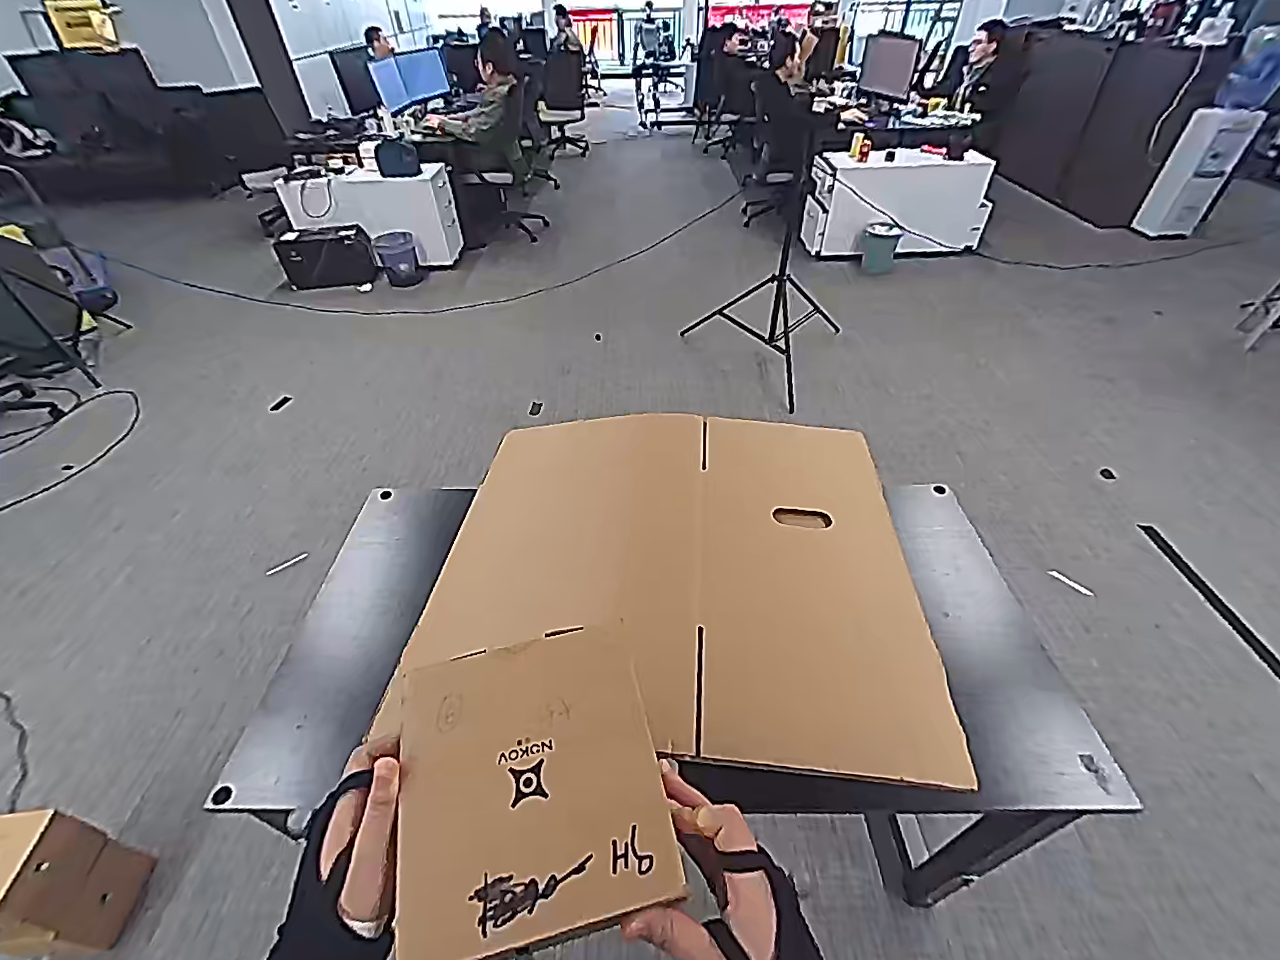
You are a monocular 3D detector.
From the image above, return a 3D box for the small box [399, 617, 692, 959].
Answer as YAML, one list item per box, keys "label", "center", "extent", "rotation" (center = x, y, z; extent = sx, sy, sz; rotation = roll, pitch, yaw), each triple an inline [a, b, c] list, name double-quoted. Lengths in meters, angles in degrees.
- label: "small box"
  center: [-0.064, 0.236, 0.412]
  extent: [0.168, 0.176, 0.179]
  rotation: [-13, 51, -6]

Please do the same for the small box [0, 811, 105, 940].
- label: "small box"
  center: [-1.229, 0.783, 1.061]
  extent: [0.168, 0.176, 0.179]
  rotation: [-5, 41, -5]

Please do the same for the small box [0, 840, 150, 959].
- label: "small box"
  center: [-1.223, 0.906, 1.166]
  extent: [0.168, 0.176, 0.179]
  rotation: [-4, 43, -2]
